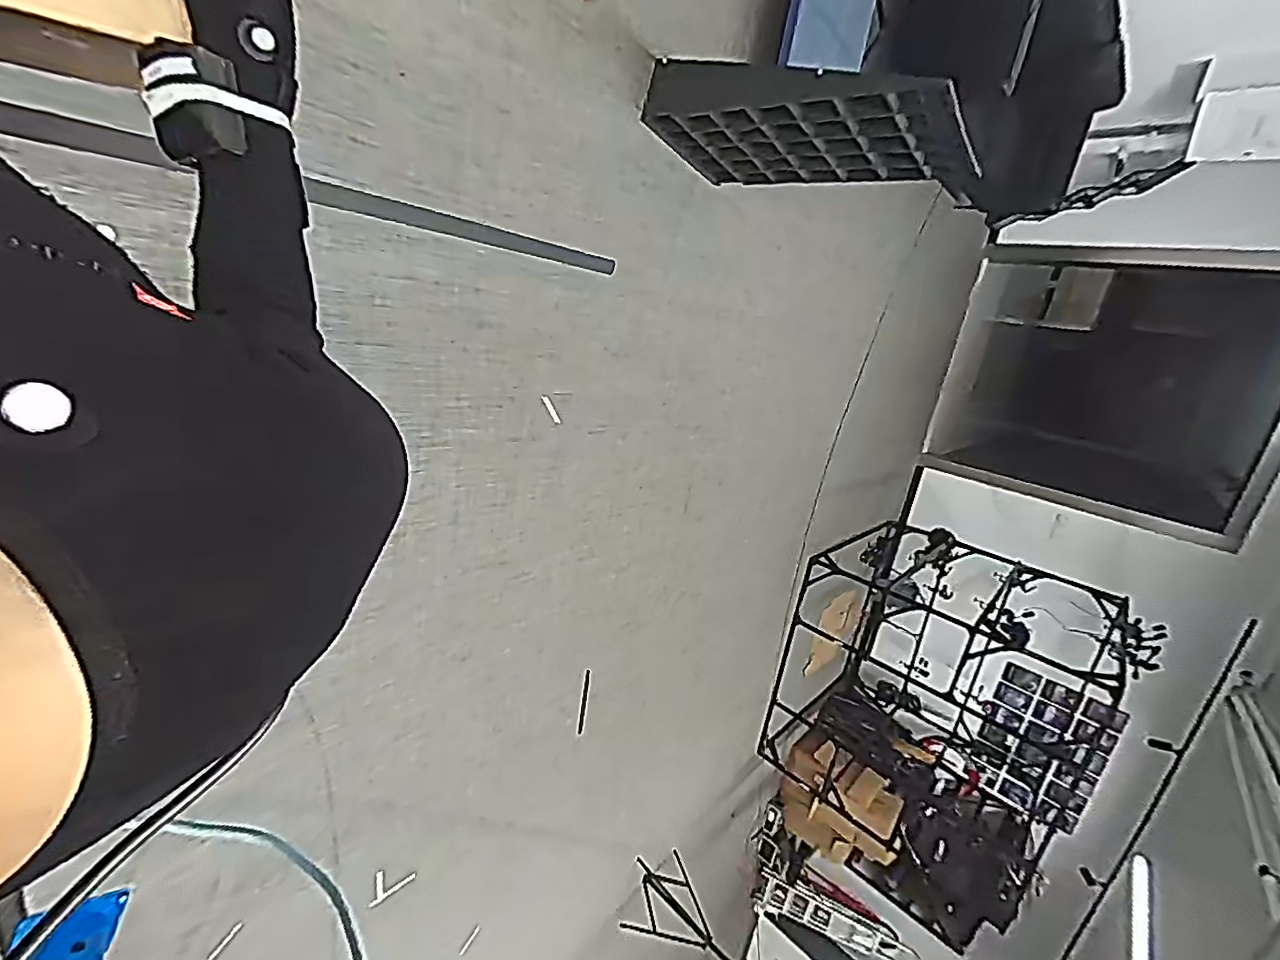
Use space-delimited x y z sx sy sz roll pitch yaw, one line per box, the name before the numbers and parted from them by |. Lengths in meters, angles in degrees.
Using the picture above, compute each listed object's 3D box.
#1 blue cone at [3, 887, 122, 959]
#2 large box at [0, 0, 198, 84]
blue cone | -1.307 1.168 1.233 0.193 0.380 0.192 23 89 -53
large box | -0.547 -0.458 0.283 0.408 0.320 0.320 -18 124 -45
